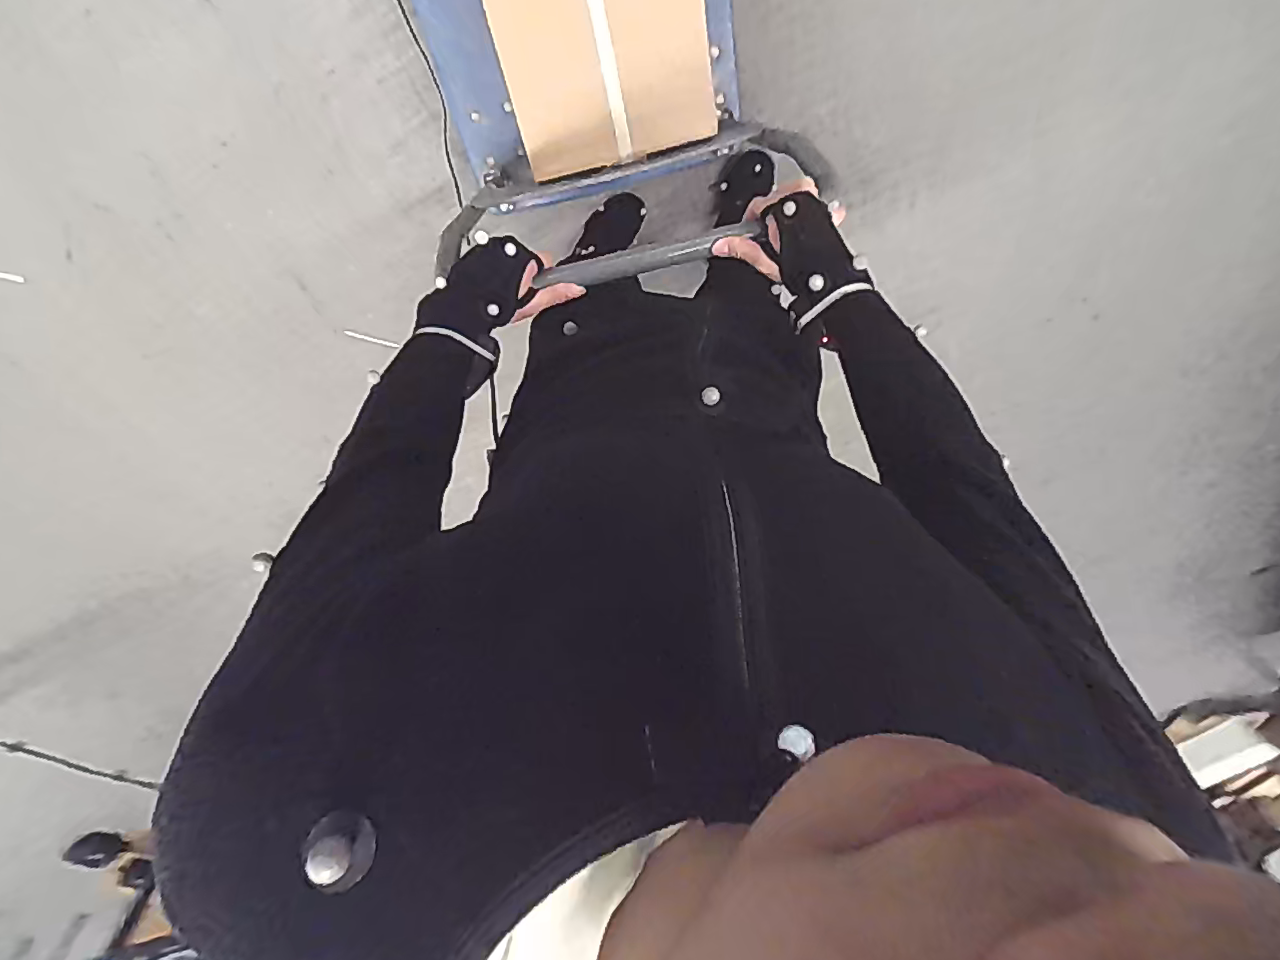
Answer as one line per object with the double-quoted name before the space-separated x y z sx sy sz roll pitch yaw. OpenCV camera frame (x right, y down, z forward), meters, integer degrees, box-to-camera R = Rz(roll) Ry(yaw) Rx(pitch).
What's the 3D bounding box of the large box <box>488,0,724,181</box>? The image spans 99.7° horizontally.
"large box" -0.065 -0.764 0.893 0.320 0.320 0.408 -13 124 4
